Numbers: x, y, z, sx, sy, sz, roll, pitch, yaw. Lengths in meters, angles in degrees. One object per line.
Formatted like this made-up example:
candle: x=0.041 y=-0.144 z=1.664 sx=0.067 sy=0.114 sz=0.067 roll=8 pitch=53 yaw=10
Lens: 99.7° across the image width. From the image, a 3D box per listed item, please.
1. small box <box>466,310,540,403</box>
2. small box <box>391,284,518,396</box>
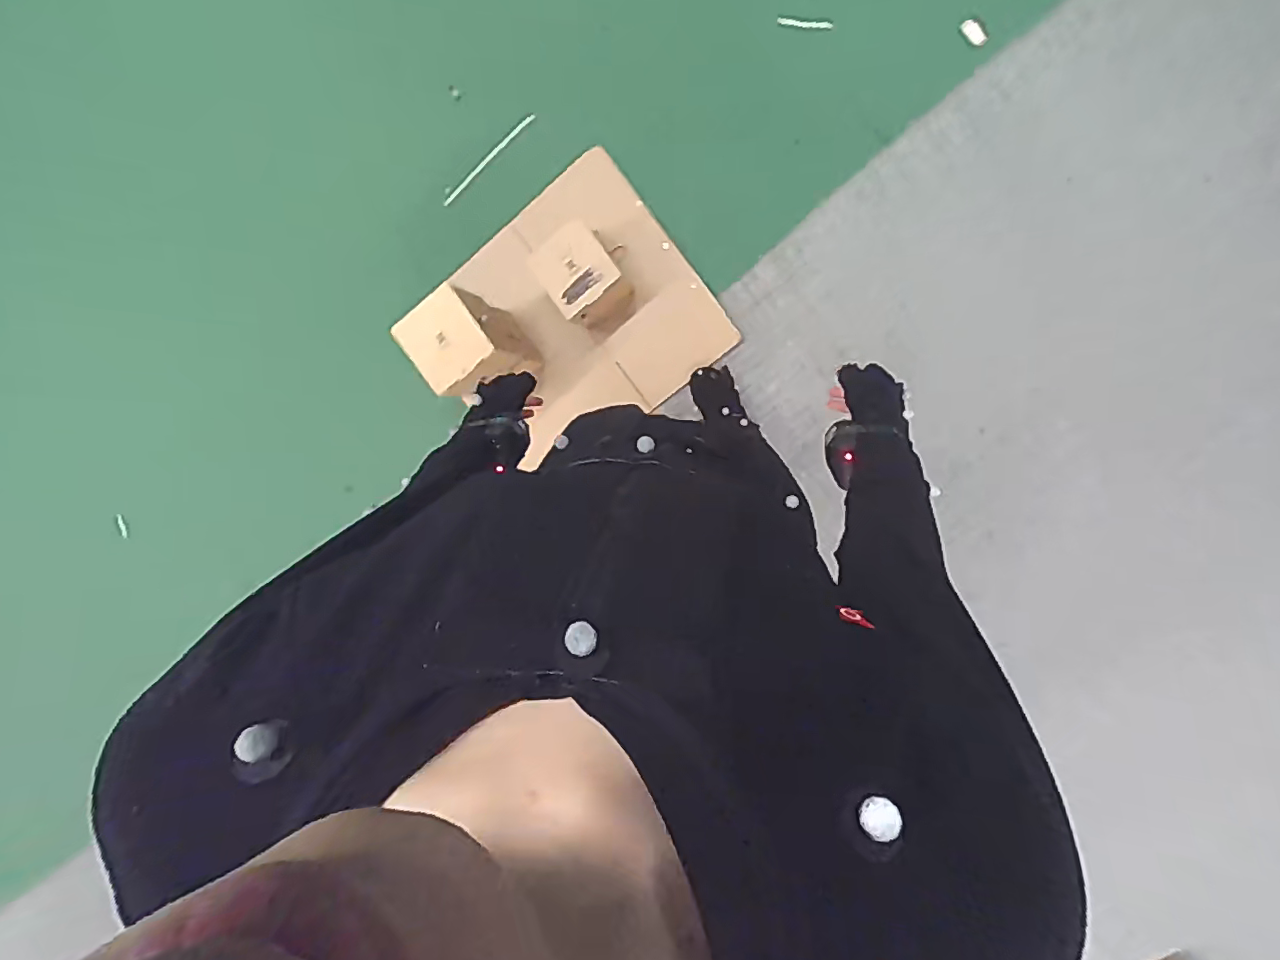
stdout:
small box: x=-0.381 y=-0.315 z=1.371 sx=0.168 sy=0.176 sz=0.179 roll=-36 pitch=92 yaw=12
small box: x=-0.406 y=-0.302 z=1.211 sx=0.168 sy=0.176 sz=0.179 roll=-35 pitch=94 yaw=11
